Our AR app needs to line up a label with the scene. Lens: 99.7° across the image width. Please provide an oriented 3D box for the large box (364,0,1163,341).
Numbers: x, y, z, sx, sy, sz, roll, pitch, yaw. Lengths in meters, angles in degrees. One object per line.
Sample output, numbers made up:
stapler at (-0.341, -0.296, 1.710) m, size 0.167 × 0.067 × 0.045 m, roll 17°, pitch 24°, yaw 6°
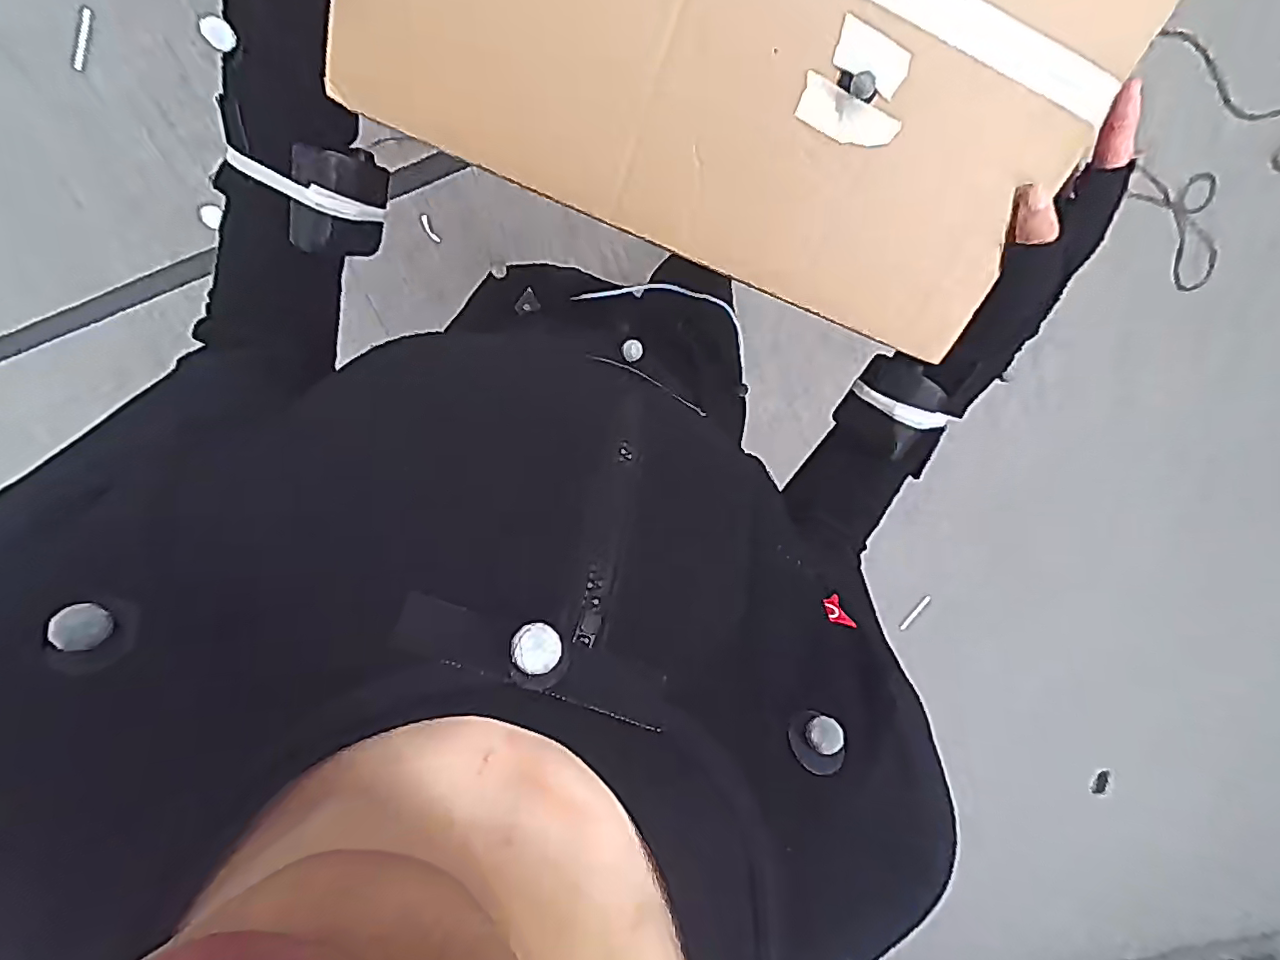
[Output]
large box at (0.075, -0.352, 0.411) m, size 0.408 × 0.320 × 0.320 m, roll 19°, pitch 117°, yaw -11°
